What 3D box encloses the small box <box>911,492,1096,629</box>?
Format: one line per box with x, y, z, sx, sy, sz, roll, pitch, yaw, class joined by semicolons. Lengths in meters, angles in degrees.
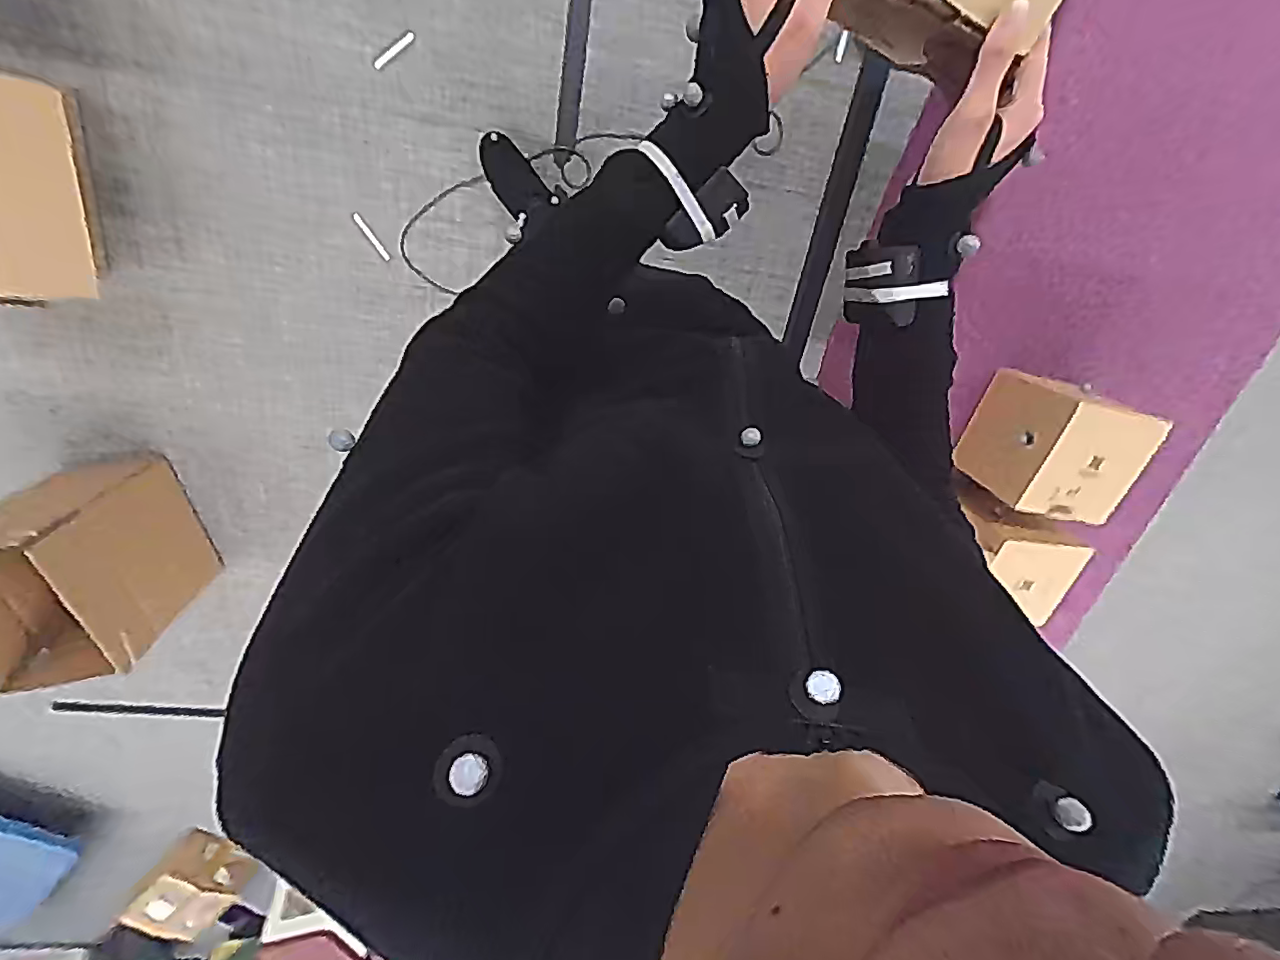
0.619;0.136;0.950;0.179;0.176;0.168;7;117;-11;small box
